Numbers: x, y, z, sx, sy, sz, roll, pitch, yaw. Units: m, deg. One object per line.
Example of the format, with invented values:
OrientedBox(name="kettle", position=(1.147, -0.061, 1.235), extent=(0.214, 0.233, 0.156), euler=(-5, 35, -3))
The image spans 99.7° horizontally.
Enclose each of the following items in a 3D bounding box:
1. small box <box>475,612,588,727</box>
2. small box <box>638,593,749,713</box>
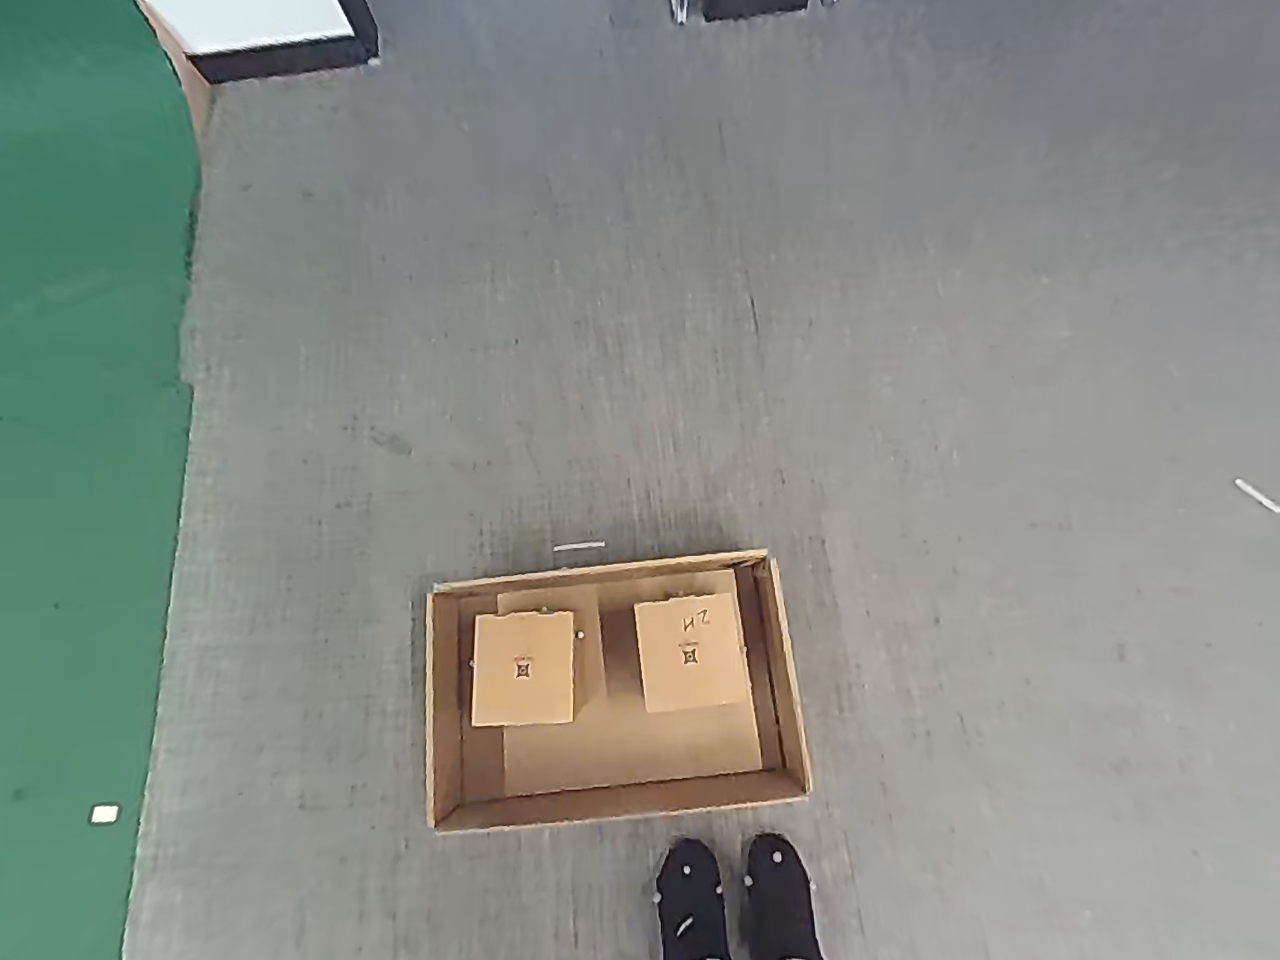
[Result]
OrientedBox(name="small box", position=(-0.184, 0.328, 0.963), extent=(0.168, 0.176, 0.179), euler=(-3, 75, 1))
OrientedBox(name="small box", position=(0.089, 0.298, 0.957), extent=(0.168, 0.176, 0.179), euler=(-7, 76, 0))
